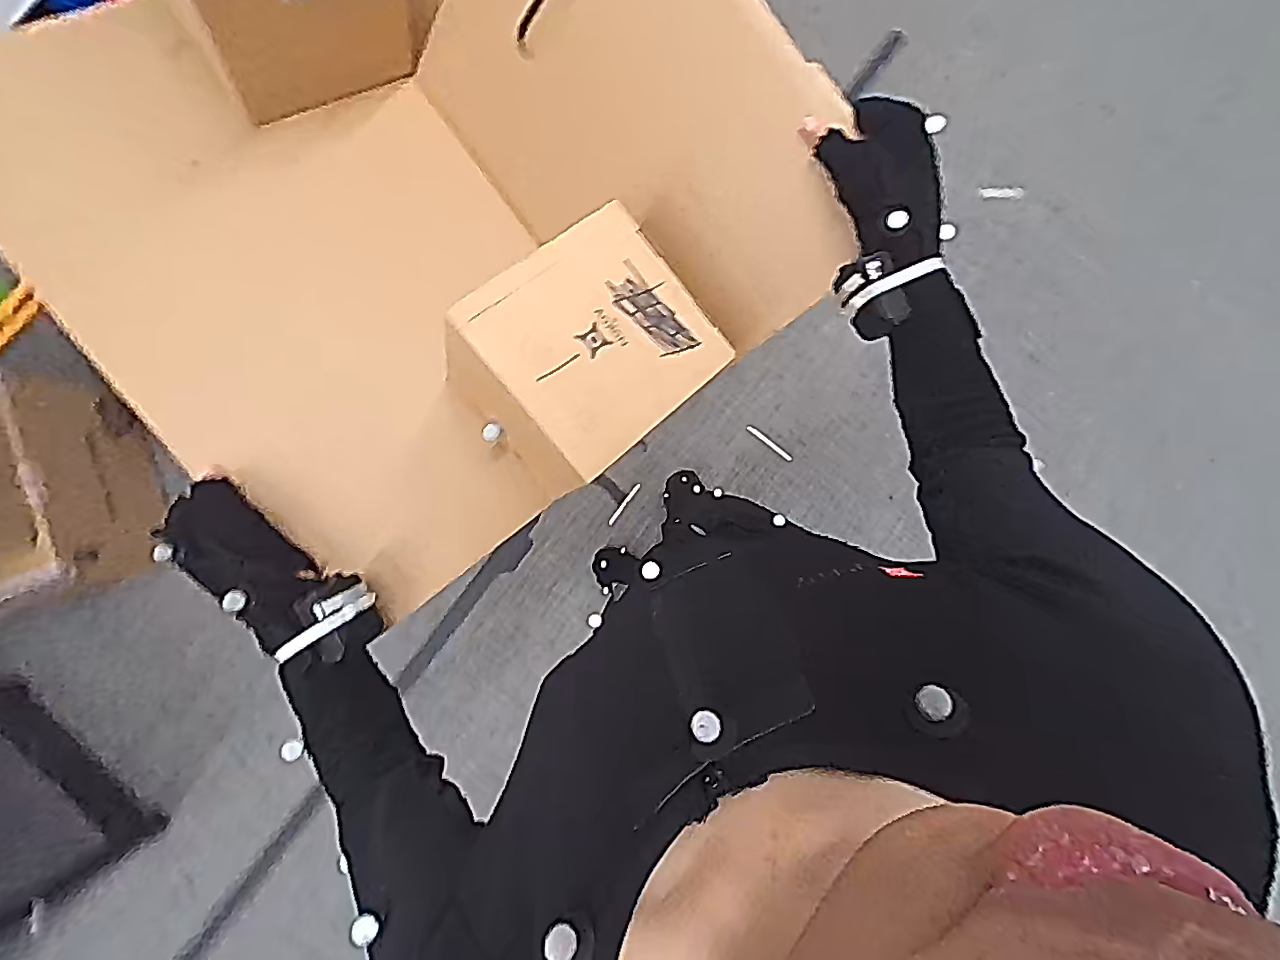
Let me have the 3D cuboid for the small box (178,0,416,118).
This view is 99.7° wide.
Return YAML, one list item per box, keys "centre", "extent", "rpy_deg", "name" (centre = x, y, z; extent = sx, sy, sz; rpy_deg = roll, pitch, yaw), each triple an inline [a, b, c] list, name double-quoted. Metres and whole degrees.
- centre: [-0.318, -0.462, 0.469]
  extent: [0.179, 0.176, 0.168]
  rpy_deg: [-35, 94, -20]
  name: "small box"
